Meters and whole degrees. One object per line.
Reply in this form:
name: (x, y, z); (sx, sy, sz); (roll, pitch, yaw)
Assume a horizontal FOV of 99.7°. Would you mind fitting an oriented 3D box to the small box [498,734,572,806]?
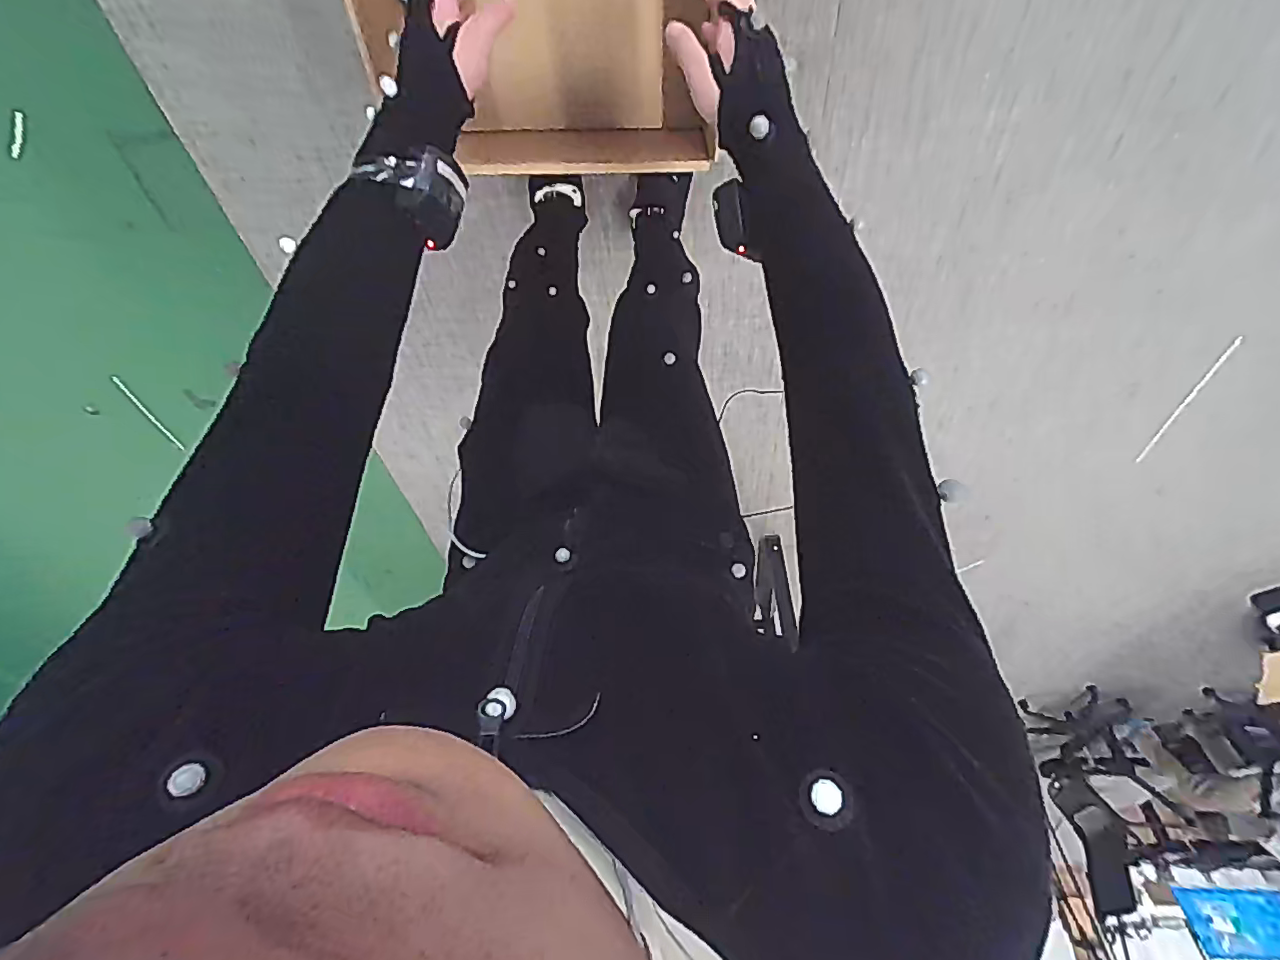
small box: (-0.342, 0.967, 1.803); (0.179, 0.176, 0.168); (-29, 131, 28)
